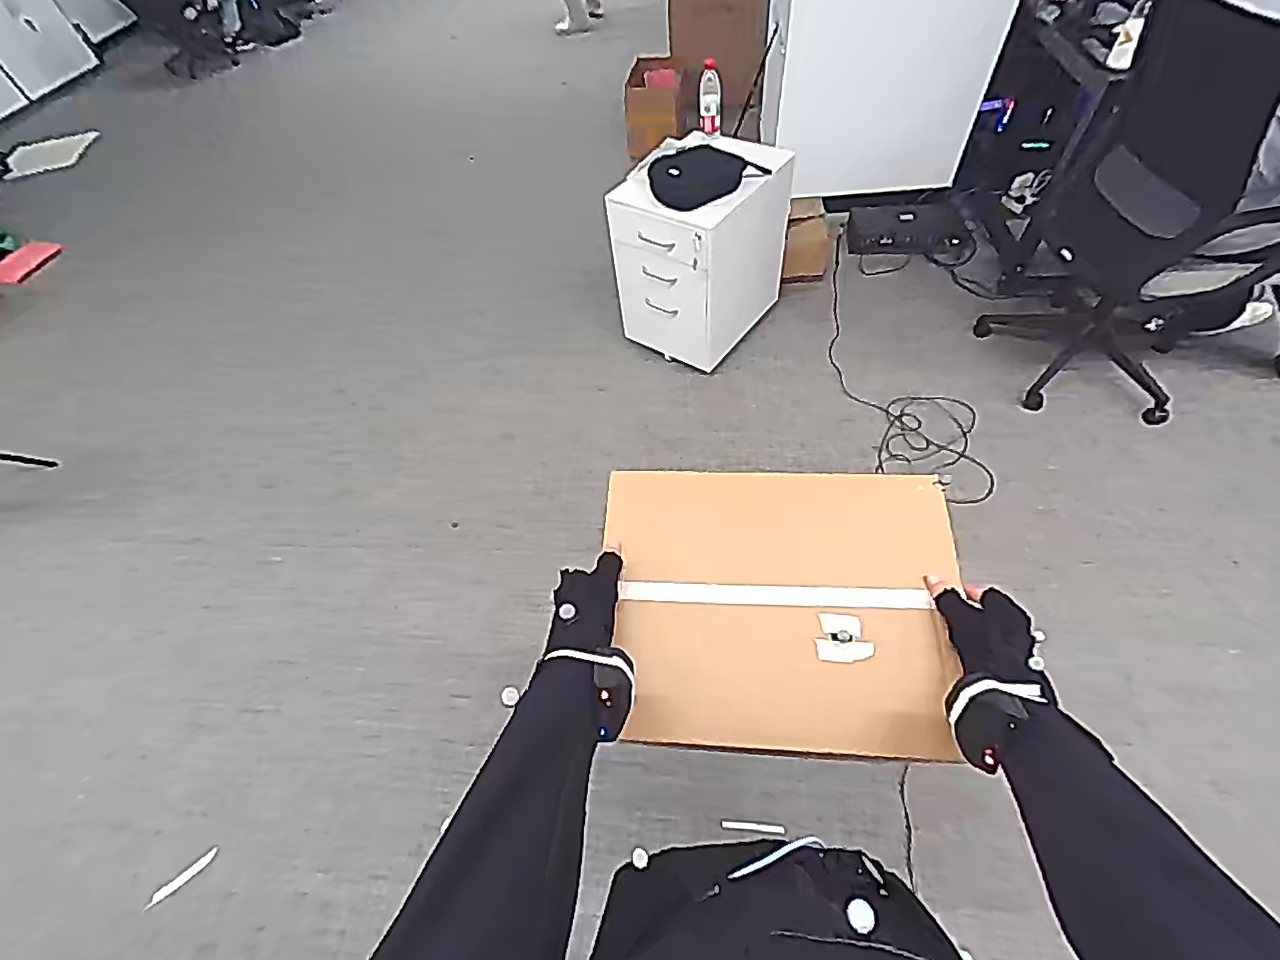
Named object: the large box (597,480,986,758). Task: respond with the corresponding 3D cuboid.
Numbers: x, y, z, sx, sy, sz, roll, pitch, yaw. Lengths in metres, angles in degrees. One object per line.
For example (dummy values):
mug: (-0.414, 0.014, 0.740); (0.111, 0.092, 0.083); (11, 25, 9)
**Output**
large box: (0.166, 0.206, 0.754); (0.408, 0.320, 0.320); (0, 63, 6)
